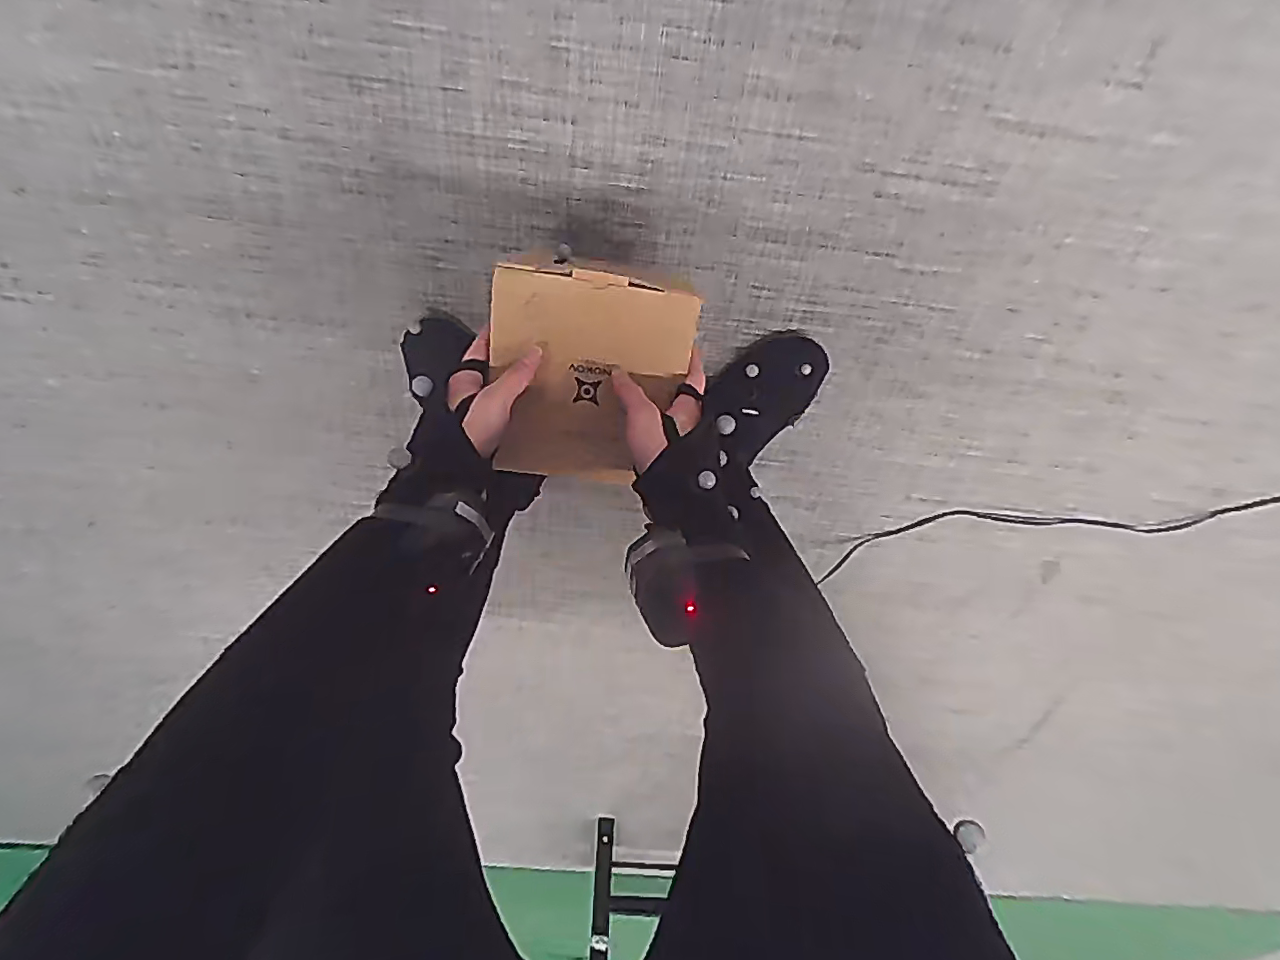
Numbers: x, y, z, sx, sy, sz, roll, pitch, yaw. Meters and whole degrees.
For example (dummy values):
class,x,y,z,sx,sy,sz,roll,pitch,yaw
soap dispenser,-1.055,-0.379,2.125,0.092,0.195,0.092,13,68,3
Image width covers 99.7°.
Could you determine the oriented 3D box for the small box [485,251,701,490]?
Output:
class,x,y,z,sx,sy,sz,roll,pitch,yaw
small box,-0.047,-0.114,0.525,0.168,0.176,0.179,8,118,-5
